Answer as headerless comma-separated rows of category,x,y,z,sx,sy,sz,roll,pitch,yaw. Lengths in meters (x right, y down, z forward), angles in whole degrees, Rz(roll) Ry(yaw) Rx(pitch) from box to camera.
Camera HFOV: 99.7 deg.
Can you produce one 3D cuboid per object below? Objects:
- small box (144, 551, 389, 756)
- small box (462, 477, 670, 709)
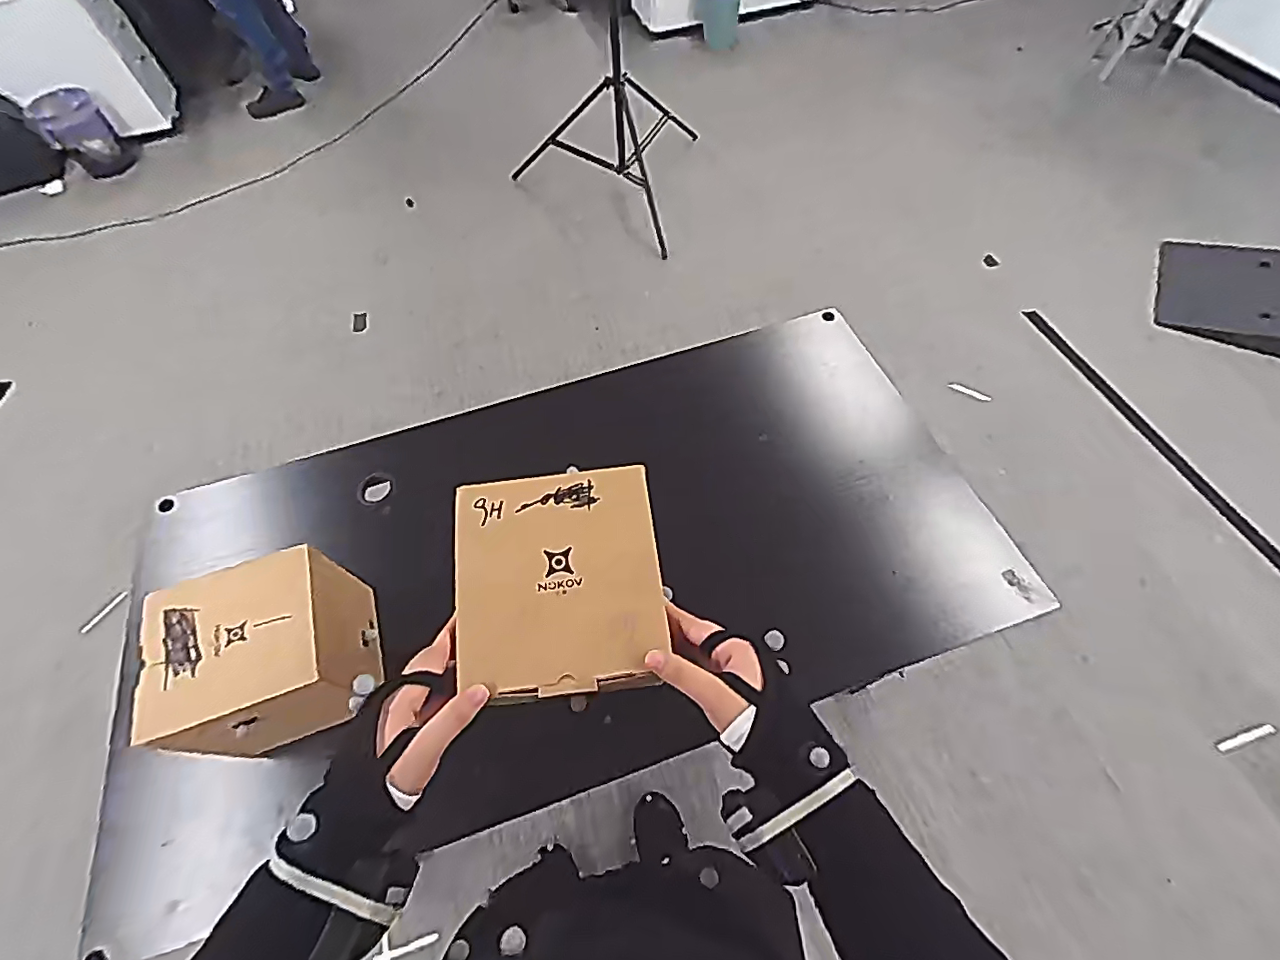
small box,-0.431,0.215,0.651,0.179,0.176,0.168,-18,61,-10
small box,-0.064,0.114,0.521,0.168,0.176,0.179,-7,68,-3
